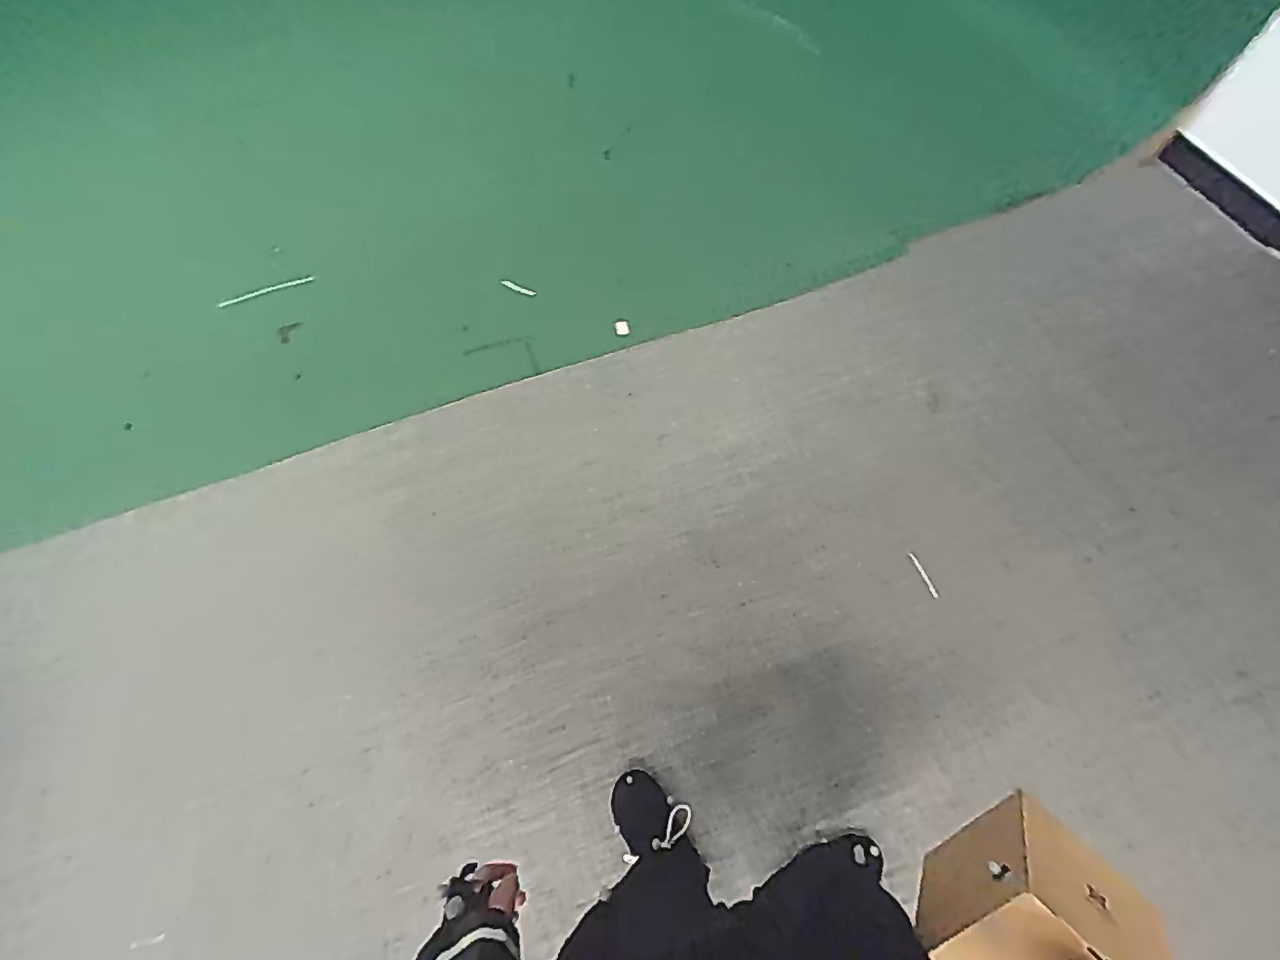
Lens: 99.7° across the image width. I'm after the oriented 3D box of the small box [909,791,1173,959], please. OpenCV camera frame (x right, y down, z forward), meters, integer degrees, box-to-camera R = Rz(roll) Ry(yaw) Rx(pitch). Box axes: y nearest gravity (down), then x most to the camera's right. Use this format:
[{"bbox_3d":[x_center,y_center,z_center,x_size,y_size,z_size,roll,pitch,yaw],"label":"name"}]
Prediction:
[{"bbox_3d":[0.416,0.487,0.573,0.168,0.179,0.176,44,115,21],"label":"small box"}]
